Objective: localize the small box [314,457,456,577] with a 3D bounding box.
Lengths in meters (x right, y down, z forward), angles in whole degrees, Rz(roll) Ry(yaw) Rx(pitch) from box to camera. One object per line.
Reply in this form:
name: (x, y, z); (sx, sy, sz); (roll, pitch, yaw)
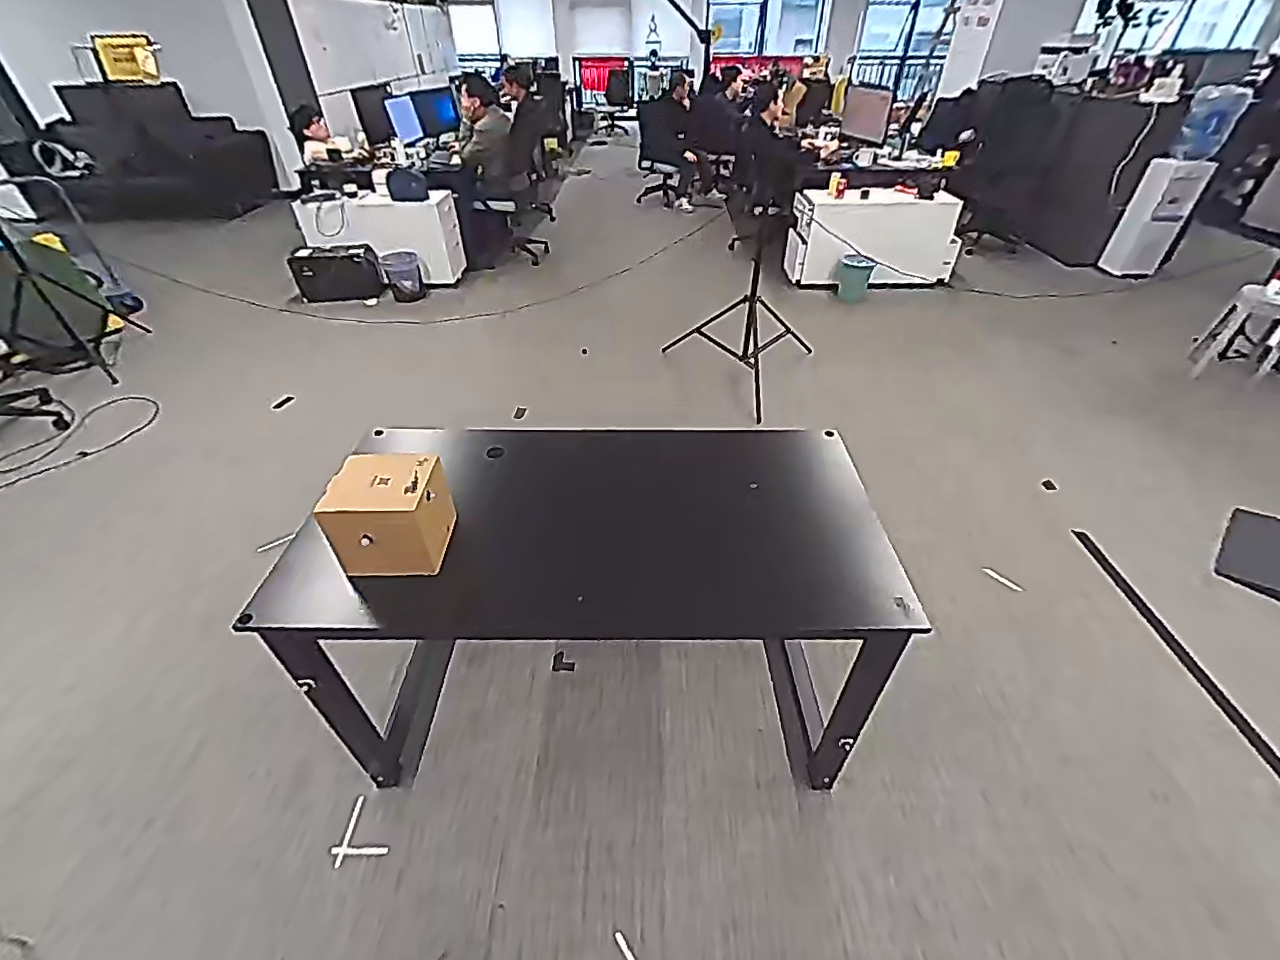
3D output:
small box: (-0.473, 0.073, 1.034); (0.179, 0.176, 0.168); (-2, 39, -1)
